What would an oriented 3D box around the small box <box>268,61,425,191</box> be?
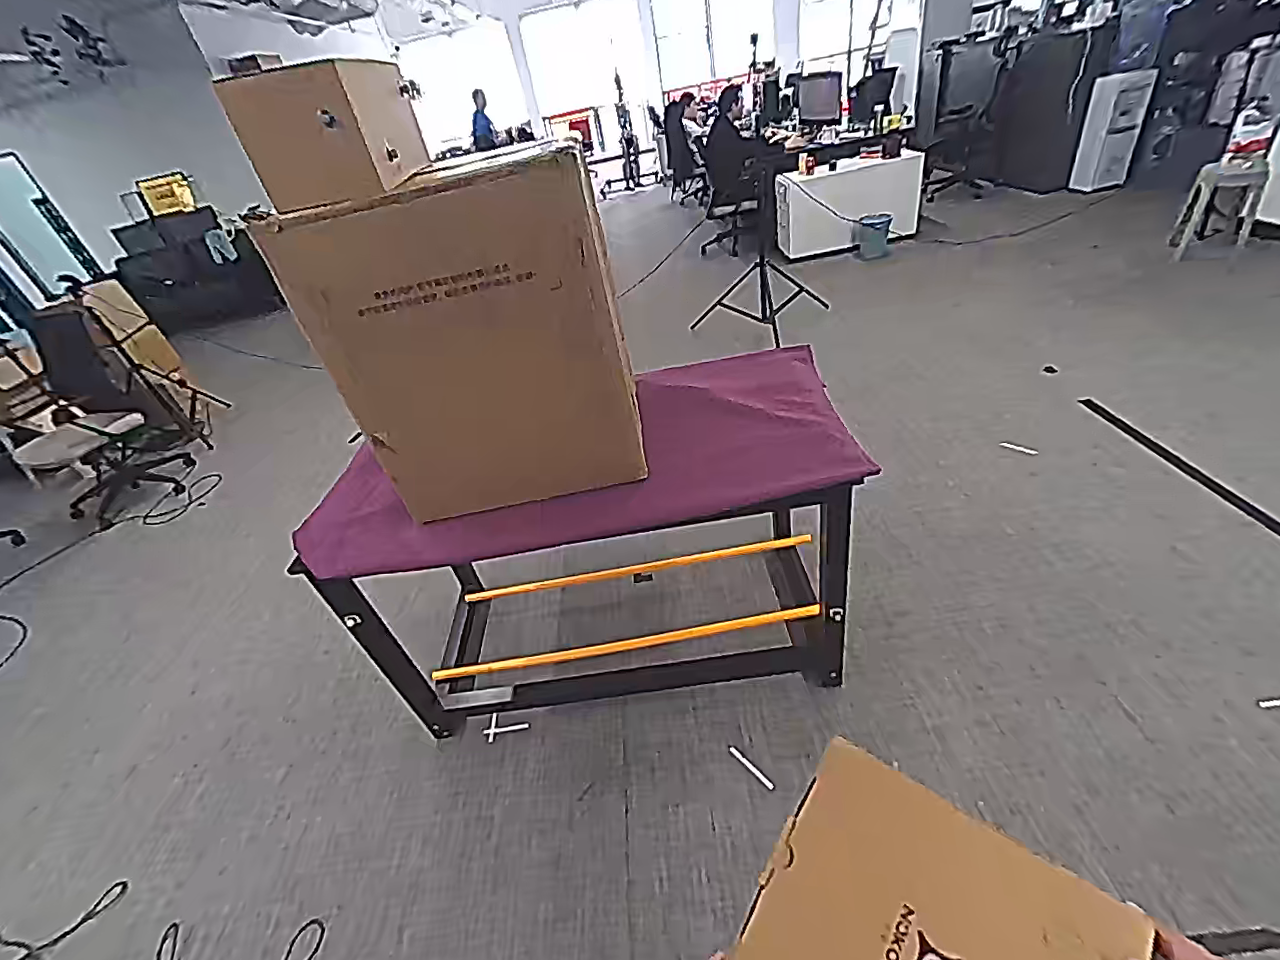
[{"bbox_3d":[-0.514,-0.637,0.982,0.168,0.176,0.179,-11,35,3],"label":"small box"}]
